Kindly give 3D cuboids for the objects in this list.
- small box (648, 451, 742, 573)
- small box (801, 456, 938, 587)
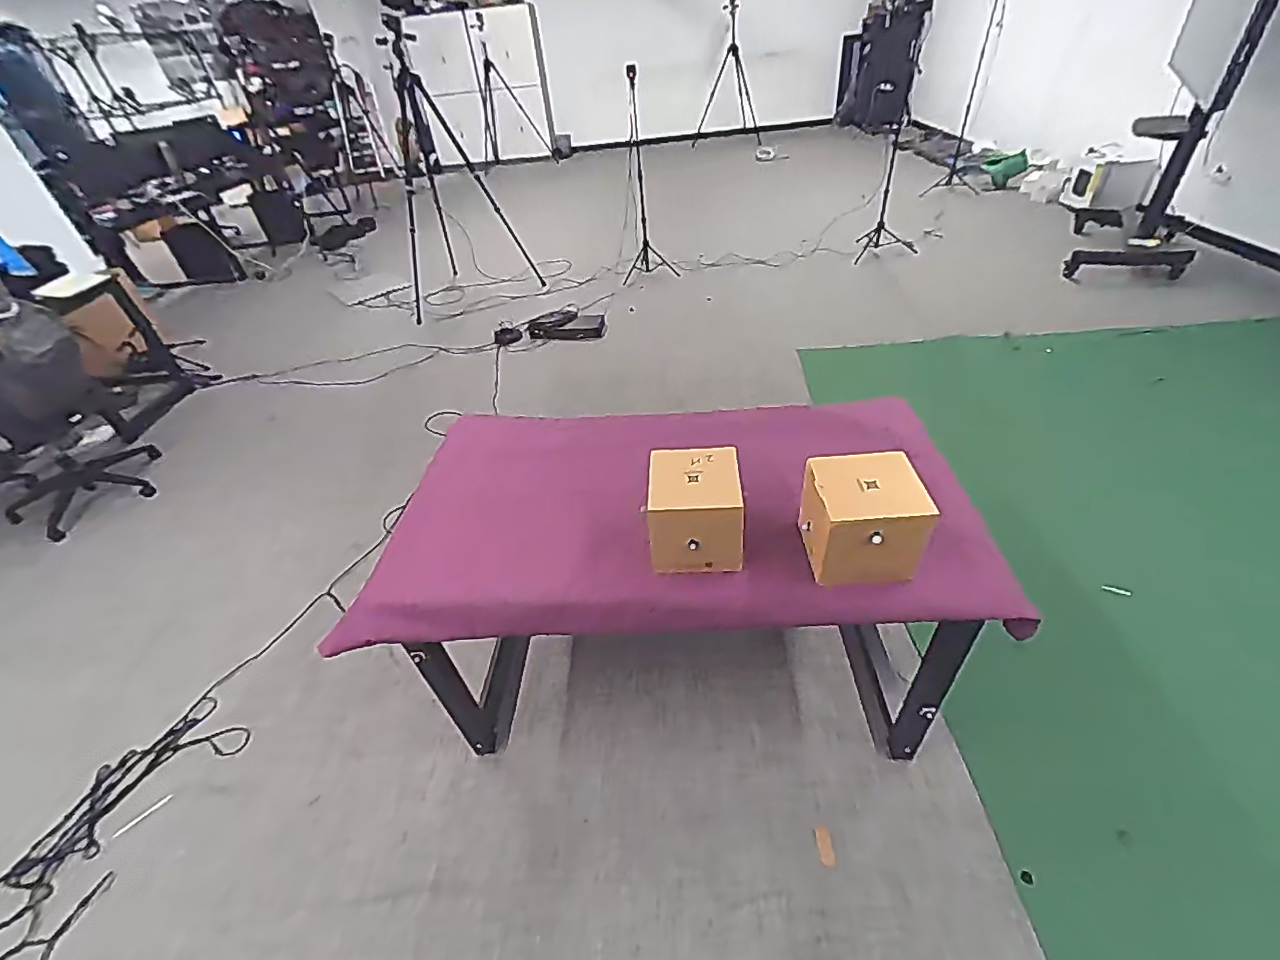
[{"bbox_3d":[0.108,0.064,1.040,0.168,0.176,0.179,-2,39,6],"label":"small box"},{"bbox_3d":[0.402,0.077,0.982,0.179,0.176,0.168,-5,41,4],"label":"small box"}]
